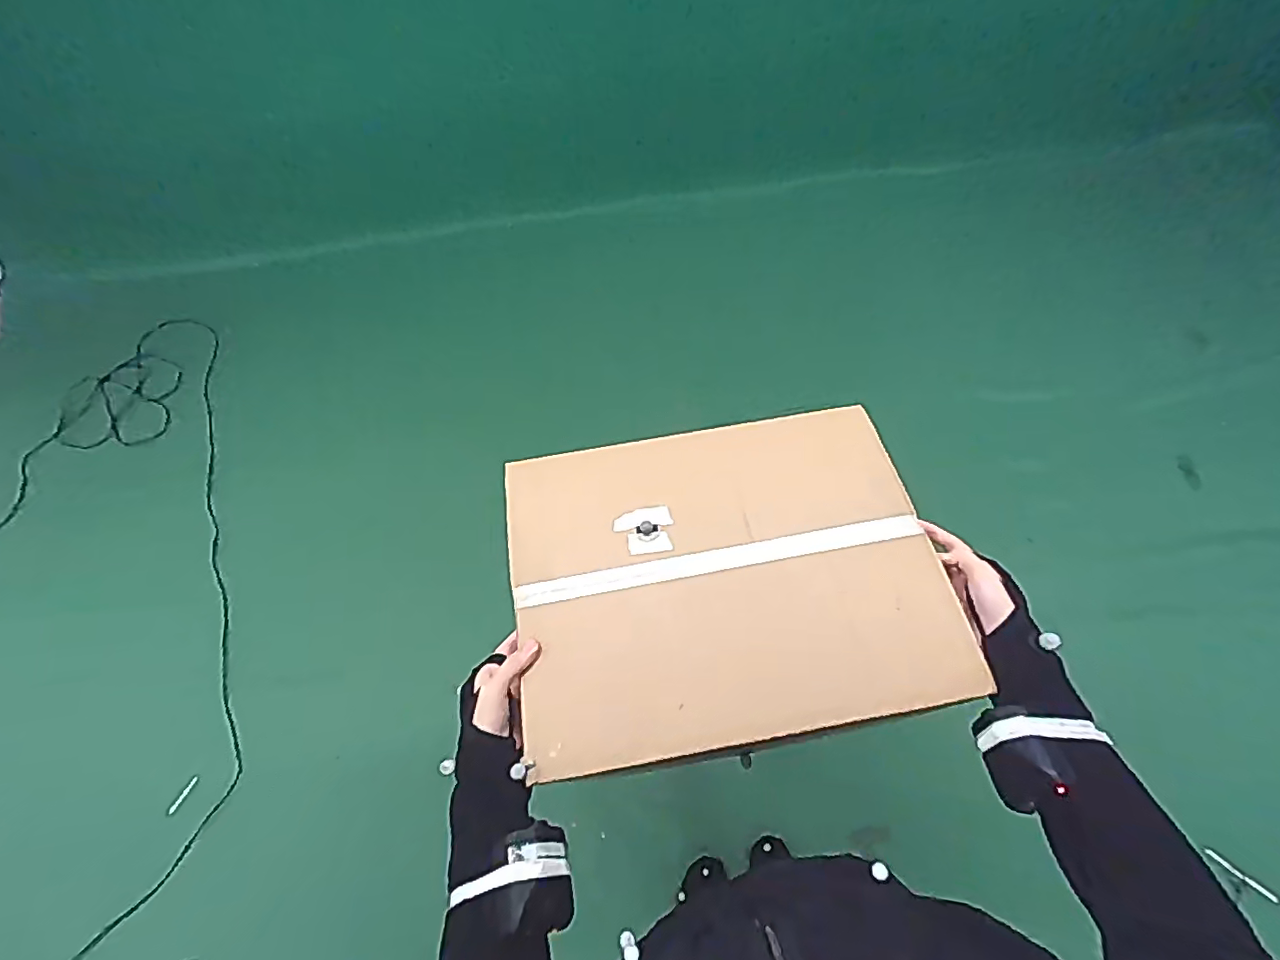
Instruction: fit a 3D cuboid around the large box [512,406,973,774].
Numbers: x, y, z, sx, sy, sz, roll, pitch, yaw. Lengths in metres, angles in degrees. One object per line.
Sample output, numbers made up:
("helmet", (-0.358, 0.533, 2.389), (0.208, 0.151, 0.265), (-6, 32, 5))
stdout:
("large box", (0.087, 0.152, 0.671), (0.408, 0.320, 0.320), (-10, 61, -2))
